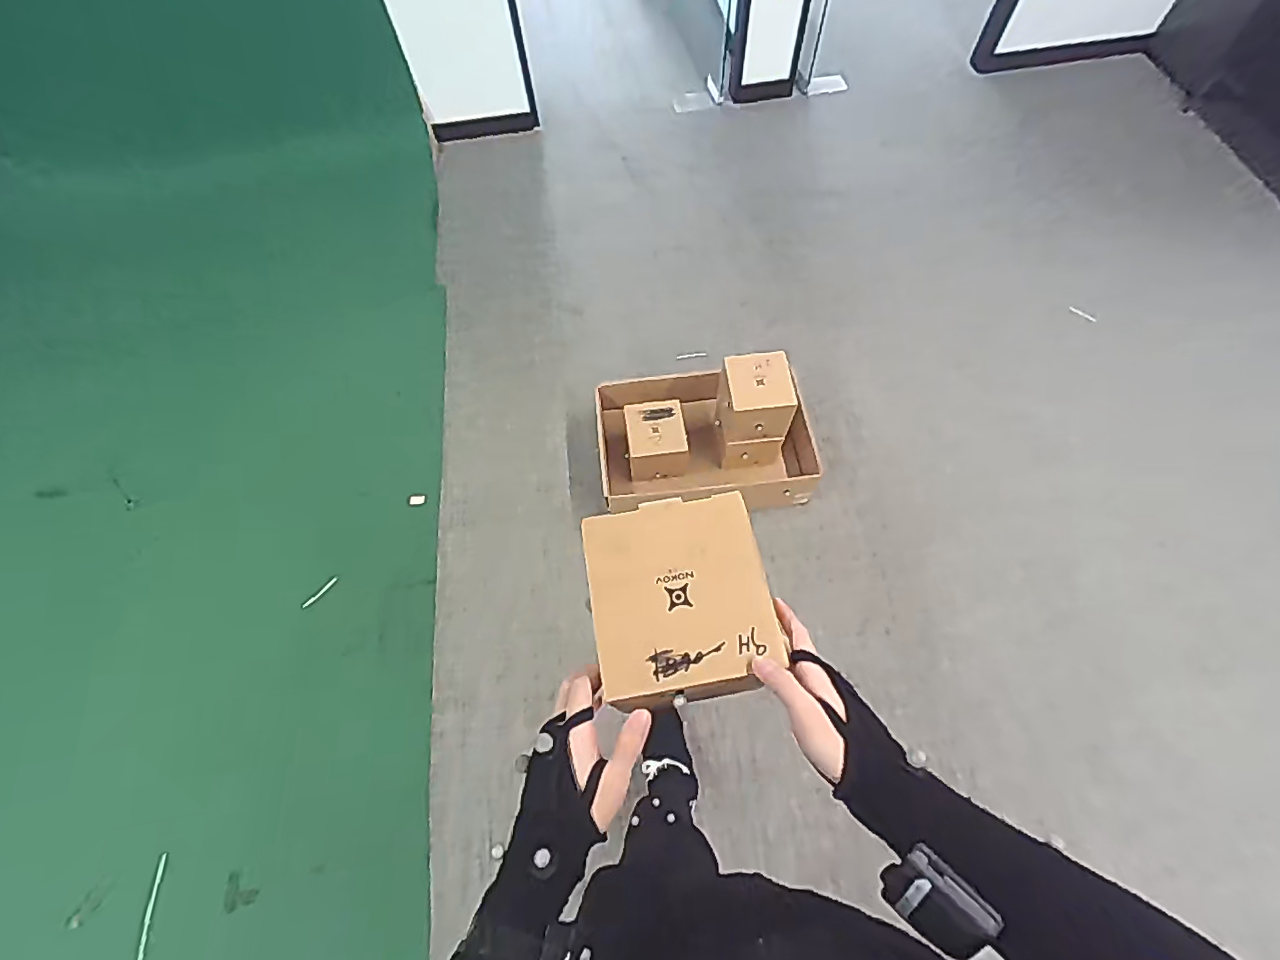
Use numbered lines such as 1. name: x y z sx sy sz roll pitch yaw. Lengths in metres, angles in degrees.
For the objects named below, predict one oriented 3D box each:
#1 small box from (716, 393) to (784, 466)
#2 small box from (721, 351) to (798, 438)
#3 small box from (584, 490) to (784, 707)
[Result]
1. small box: 0.326 -0.152 1.627 0.168 0.176 0.179 -6 64 1
2. small box: 0.319 -0.225 1.479 0.168 0.176 0.179 -5 64 0
3. small box: 0.039 0.134 0.581 0.168 0.176 0.179 -10 64 0
